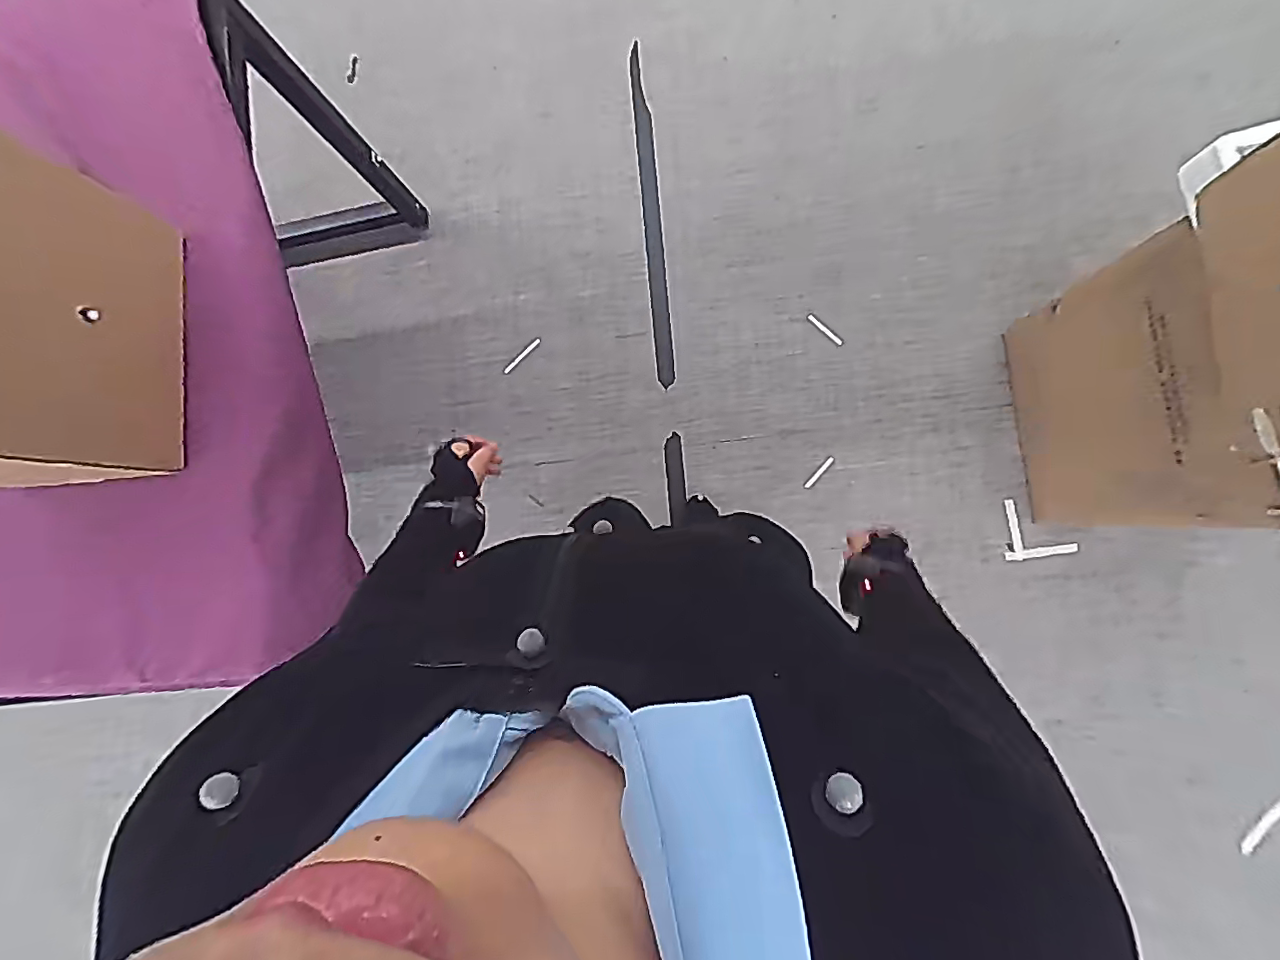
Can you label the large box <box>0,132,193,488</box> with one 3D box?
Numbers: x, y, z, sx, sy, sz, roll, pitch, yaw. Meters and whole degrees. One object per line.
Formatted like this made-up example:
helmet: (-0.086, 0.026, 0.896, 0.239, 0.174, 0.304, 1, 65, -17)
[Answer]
large box: (-0.893, -0.206, 0.740, 0.320, 0.320, 0.408, -6, 86, 8)
